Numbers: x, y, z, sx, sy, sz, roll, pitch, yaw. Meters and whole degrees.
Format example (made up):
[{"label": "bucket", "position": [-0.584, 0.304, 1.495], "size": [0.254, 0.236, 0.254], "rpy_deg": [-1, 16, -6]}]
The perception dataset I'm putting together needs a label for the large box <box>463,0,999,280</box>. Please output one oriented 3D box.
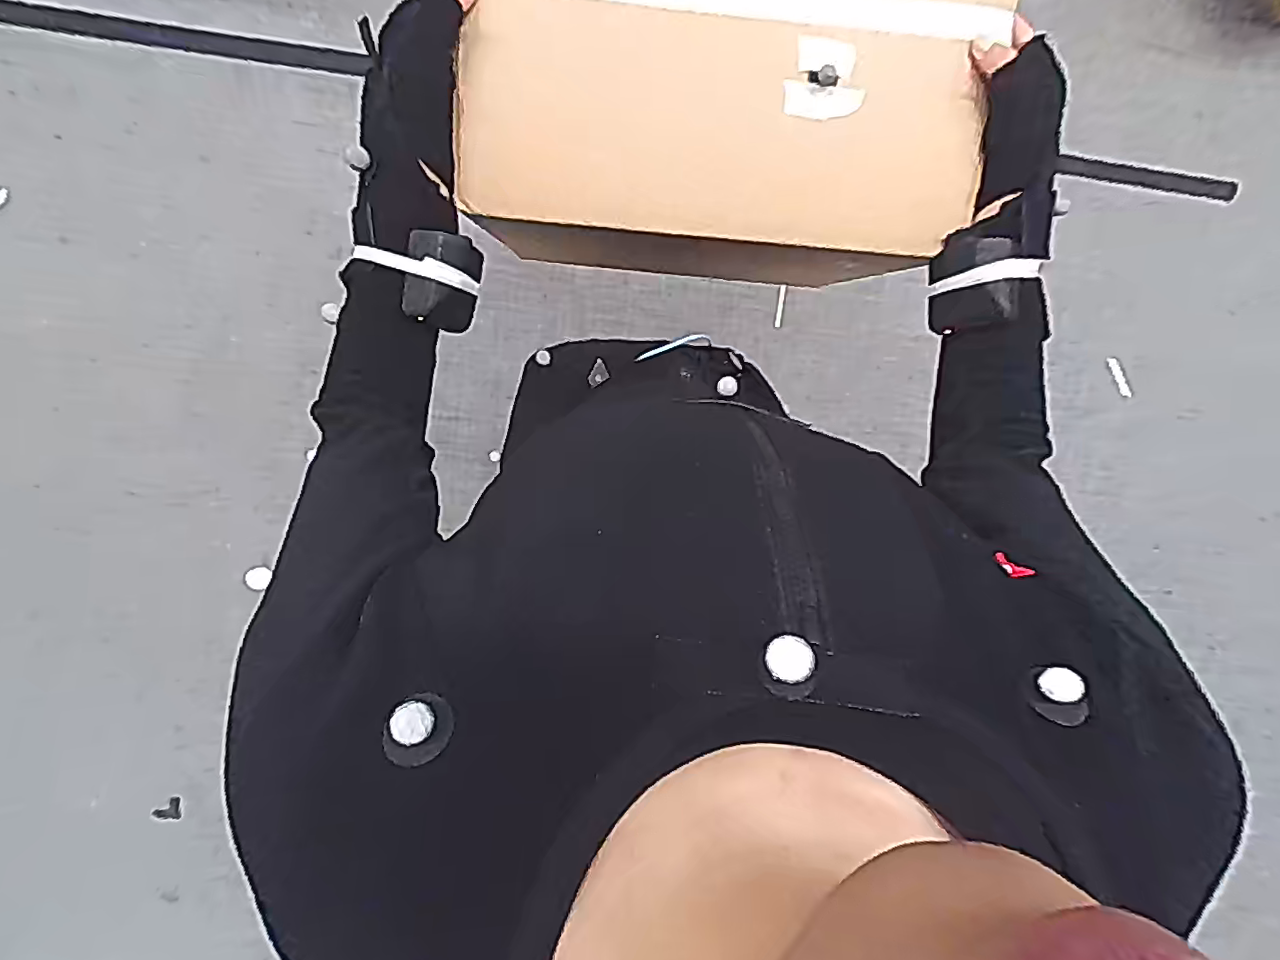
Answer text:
[{"label": "large box", "position": [0.059, -0.388, 0.541], "size": [0.408, 0.320, 0.320], "rpy_deg": [4, 107, -5]}]
